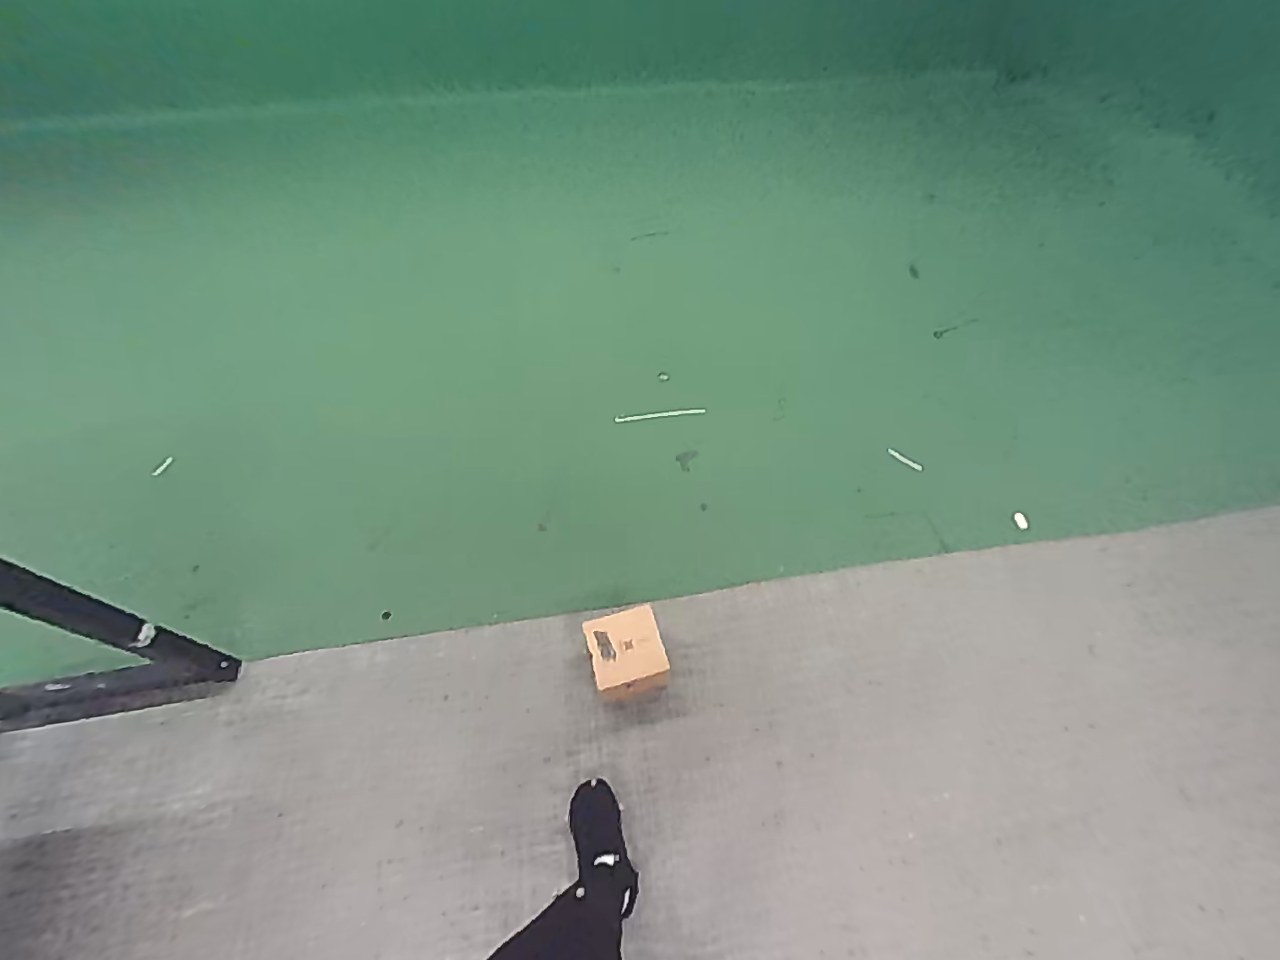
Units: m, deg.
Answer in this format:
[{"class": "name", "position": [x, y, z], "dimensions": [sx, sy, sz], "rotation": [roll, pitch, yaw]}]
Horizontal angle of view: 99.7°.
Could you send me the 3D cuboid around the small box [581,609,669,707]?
[{"class": "small box", "position": [-0.037, 0.442, 1.330], "dimensions": [0.179, 0.176, 0.168], "rotation": [-13, 58, -10]}]
